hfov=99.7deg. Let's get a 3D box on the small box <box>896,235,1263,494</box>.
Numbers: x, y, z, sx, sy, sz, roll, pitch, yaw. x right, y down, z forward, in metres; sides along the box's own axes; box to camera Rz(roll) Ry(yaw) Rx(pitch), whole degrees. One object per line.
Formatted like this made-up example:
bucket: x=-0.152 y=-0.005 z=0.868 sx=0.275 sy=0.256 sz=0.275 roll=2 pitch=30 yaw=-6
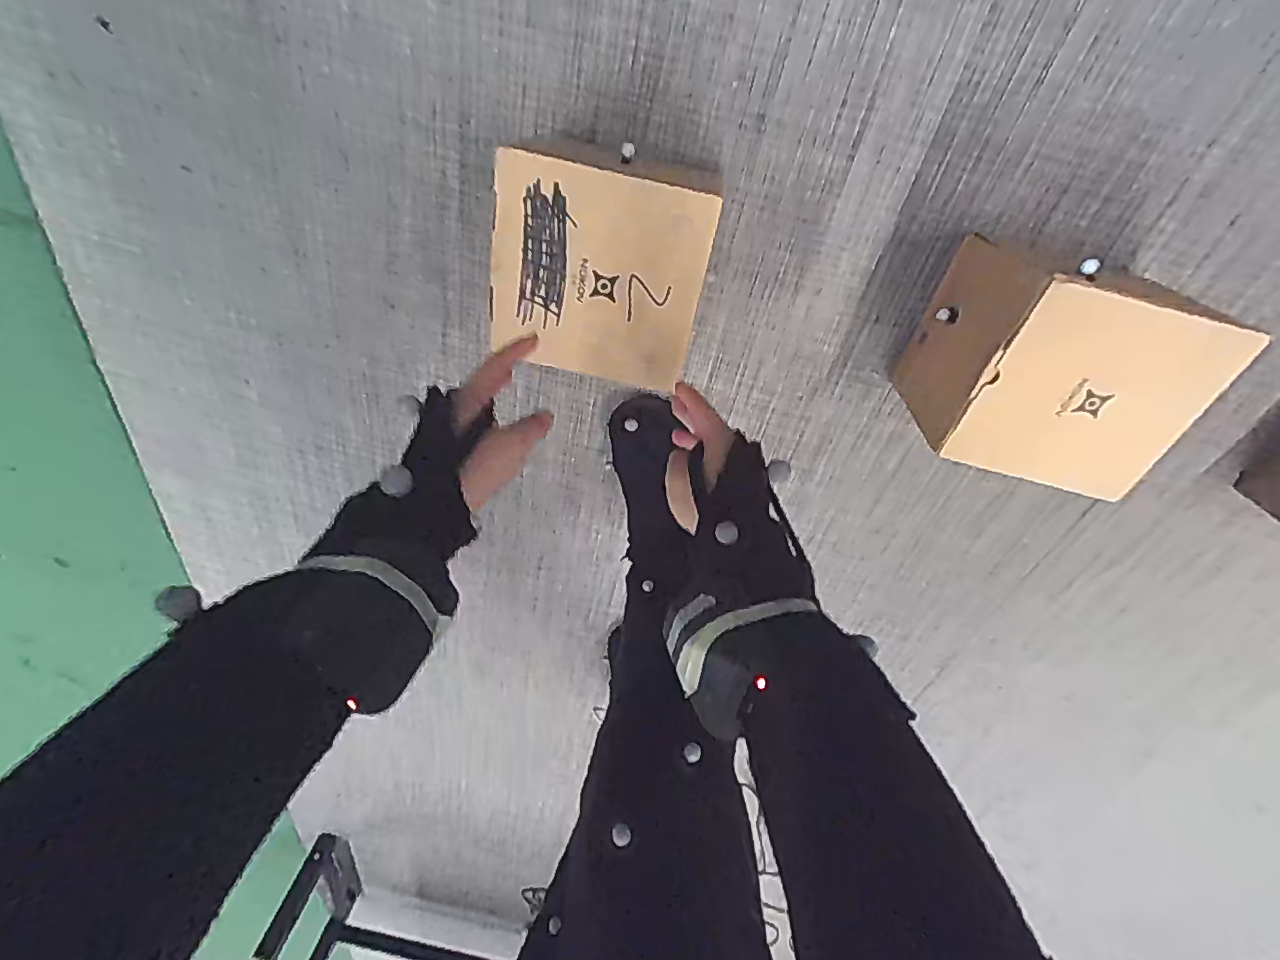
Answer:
small box: x=0.379 y=-0.116 z=0.514 sx=0.179 sy=0.176 sz=0.168 roll=15 pitch=126 yaw=-1
